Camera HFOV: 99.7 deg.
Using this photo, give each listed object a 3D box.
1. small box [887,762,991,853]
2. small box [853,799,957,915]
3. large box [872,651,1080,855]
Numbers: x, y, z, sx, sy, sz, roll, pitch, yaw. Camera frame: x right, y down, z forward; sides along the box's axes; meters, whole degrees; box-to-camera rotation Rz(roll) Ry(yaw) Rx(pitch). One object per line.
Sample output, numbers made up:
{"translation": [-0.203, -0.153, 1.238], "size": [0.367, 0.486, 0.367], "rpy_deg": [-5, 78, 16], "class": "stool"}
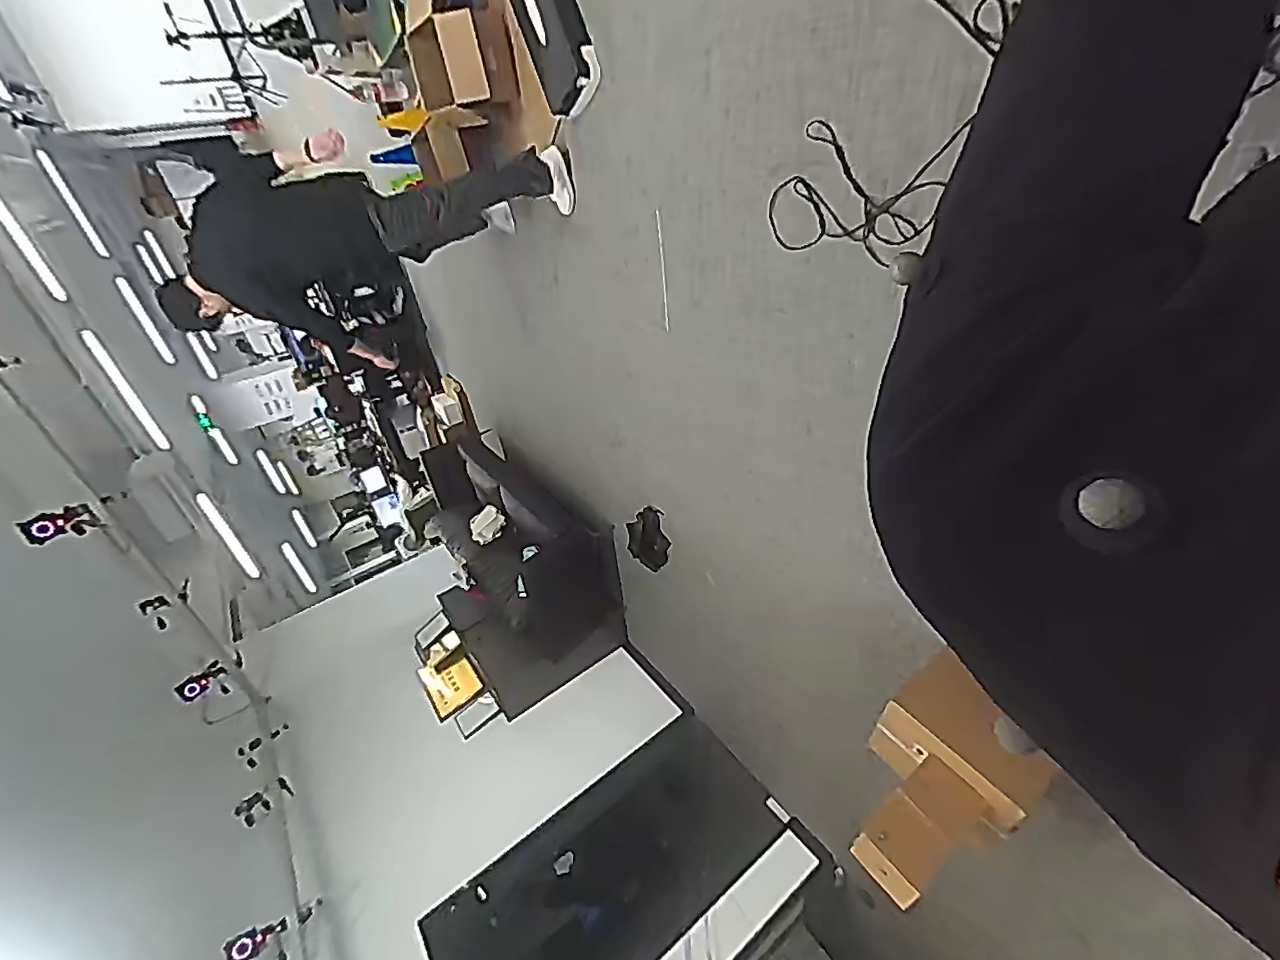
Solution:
{"translation": [0.845, 0.938, 1.535], "size": [0.179, 0.176, 0.168], "rpy_deg": [39, 146, 38], "class": "small box"}
{"translation": [0.719, 1.019, 1.469], "size": [0.179, 0.176, 0.168], "rpy_deg": [41, 147, 39], "class": "small box"}
{"translation": [1.015, 0.825, 1.672], "size": [0.408, 0.320, 0.320], "rpy_deg": [41, 145, 40], "class": "large box"}
